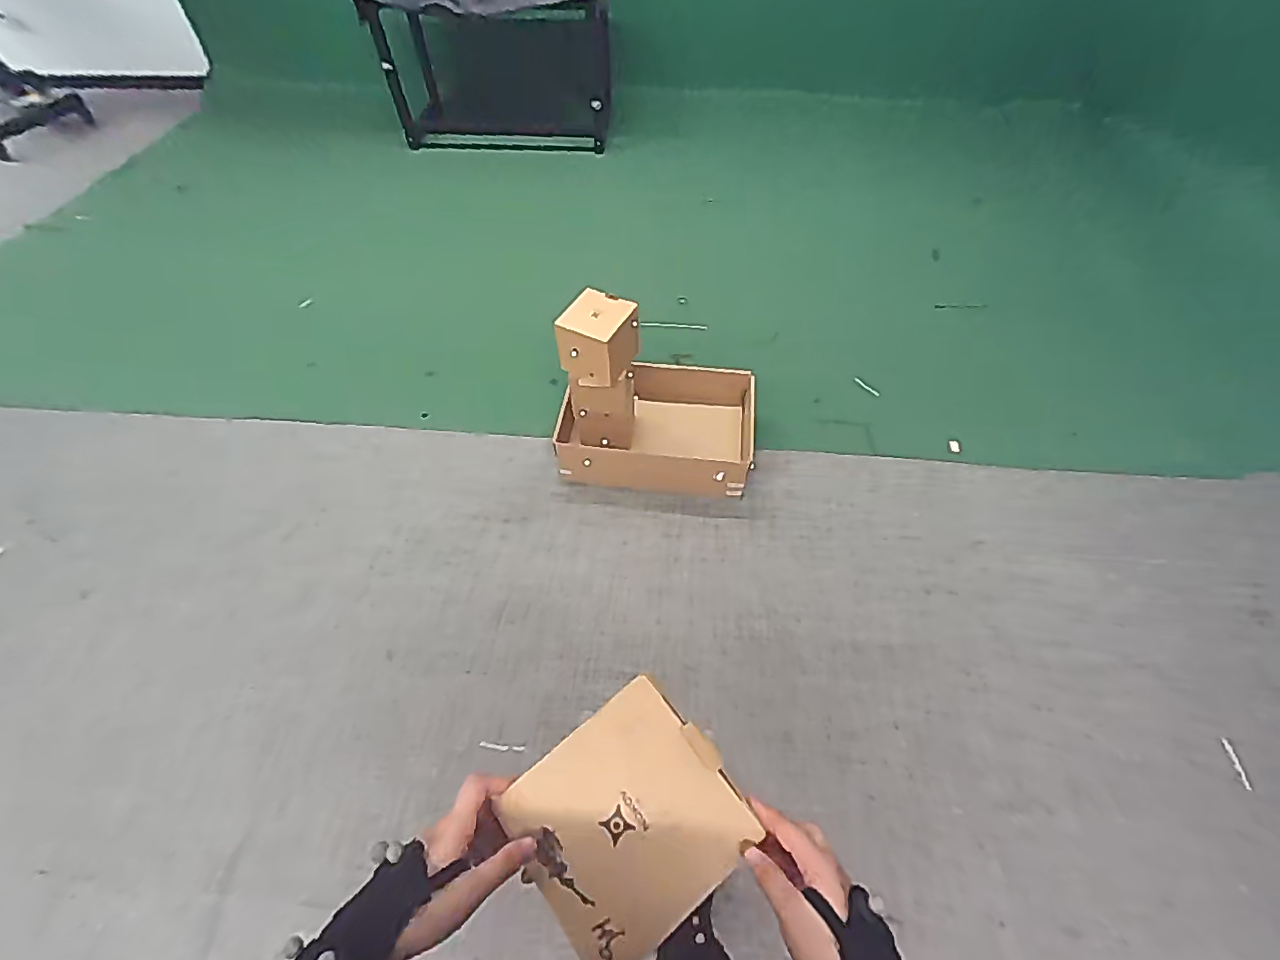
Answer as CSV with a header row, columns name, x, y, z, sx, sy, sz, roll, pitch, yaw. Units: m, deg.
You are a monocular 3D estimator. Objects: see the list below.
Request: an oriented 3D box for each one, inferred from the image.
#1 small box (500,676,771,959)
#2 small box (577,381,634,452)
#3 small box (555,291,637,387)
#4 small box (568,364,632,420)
name,x,y,z,sx,sy,sz,roll,pitch,yaw
small box,-0.002,0.318,0.530,0.179,0.176,0.168,-37,69,-12
small box,-0.108,-0.215,1.789,0.168,0.176,0.179,3,54,3
small box,-0.115,-0.391,1.514,0.168,0.176,0.179,23,57,16
small box,-0.116,-0.303,1.650,0.168,0.176,0.179,5,54,3
